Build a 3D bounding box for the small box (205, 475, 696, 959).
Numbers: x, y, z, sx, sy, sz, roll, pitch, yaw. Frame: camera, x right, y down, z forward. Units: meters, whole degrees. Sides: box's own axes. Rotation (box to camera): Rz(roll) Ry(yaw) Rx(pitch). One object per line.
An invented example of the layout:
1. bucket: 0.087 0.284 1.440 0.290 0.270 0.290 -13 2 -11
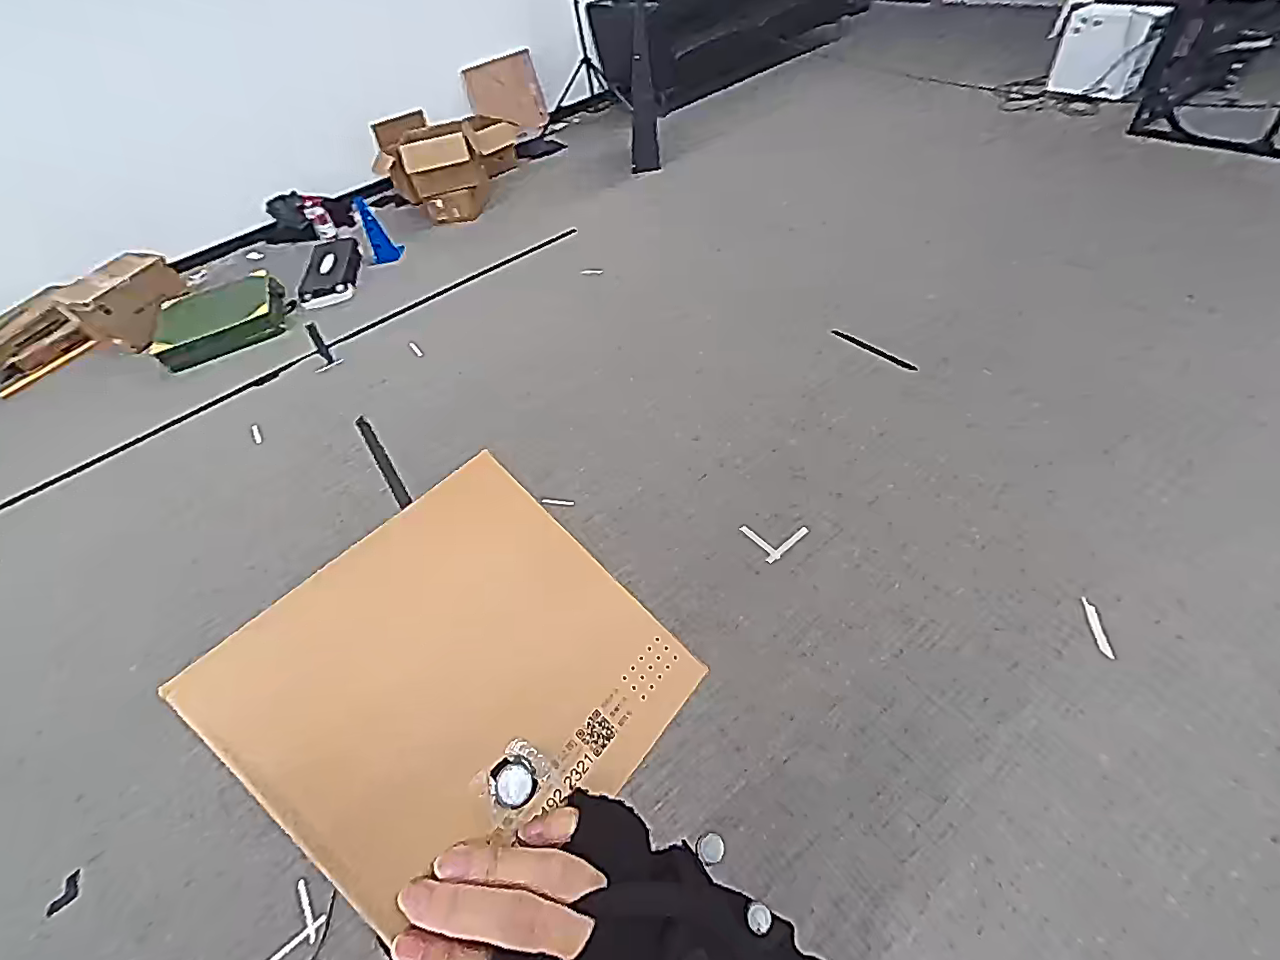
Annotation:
1. small box: -0.098 0.135 0.330 0.176 0.179 0.168 43 60 4
